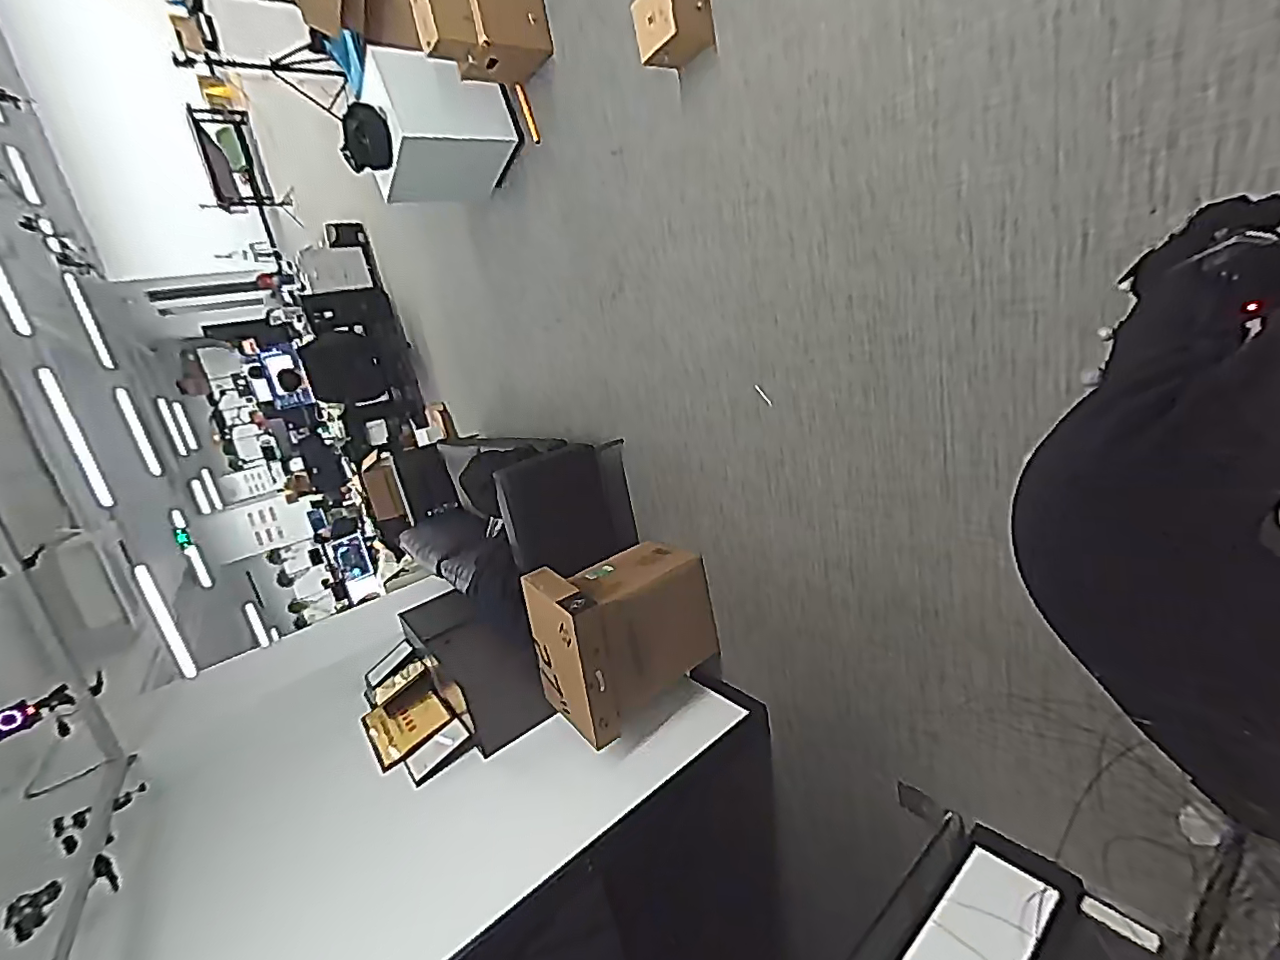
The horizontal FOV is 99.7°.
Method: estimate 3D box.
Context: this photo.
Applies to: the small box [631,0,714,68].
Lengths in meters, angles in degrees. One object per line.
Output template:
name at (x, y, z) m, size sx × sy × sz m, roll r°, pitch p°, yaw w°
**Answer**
small box at (0.101, -1.413, 1.673) m, size 0.179 × 0.176 × 0.168 m, roll 7°, pitch 115°, yaw 54°
